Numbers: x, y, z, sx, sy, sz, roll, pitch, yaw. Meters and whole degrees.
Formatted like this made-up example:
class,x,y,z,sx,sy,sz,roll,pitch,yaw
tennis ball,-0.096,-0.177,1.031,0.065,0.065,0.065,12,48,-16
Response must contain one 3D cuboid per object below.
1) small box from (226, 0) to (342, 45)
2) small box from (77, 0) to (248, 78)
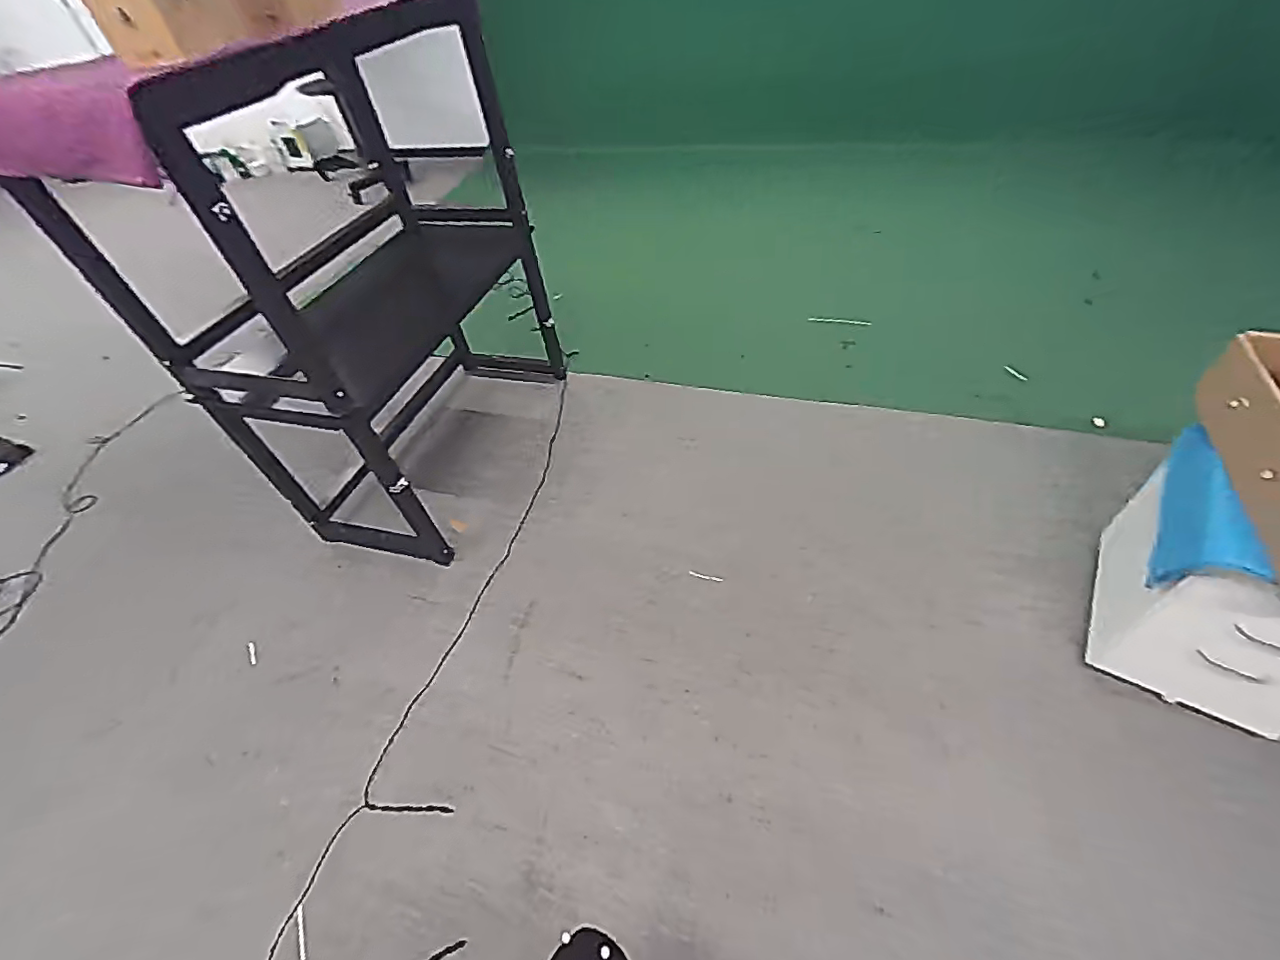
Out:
class,x,y,z,sx,sy,sz,roll,pitch,yaw
small box,-0.838,-1.131,1.254,0.168,0.176,0.179,8,49,15
small box,-0.928,-0.904,1.054,0.168,0.176,0.179,7,49,15
